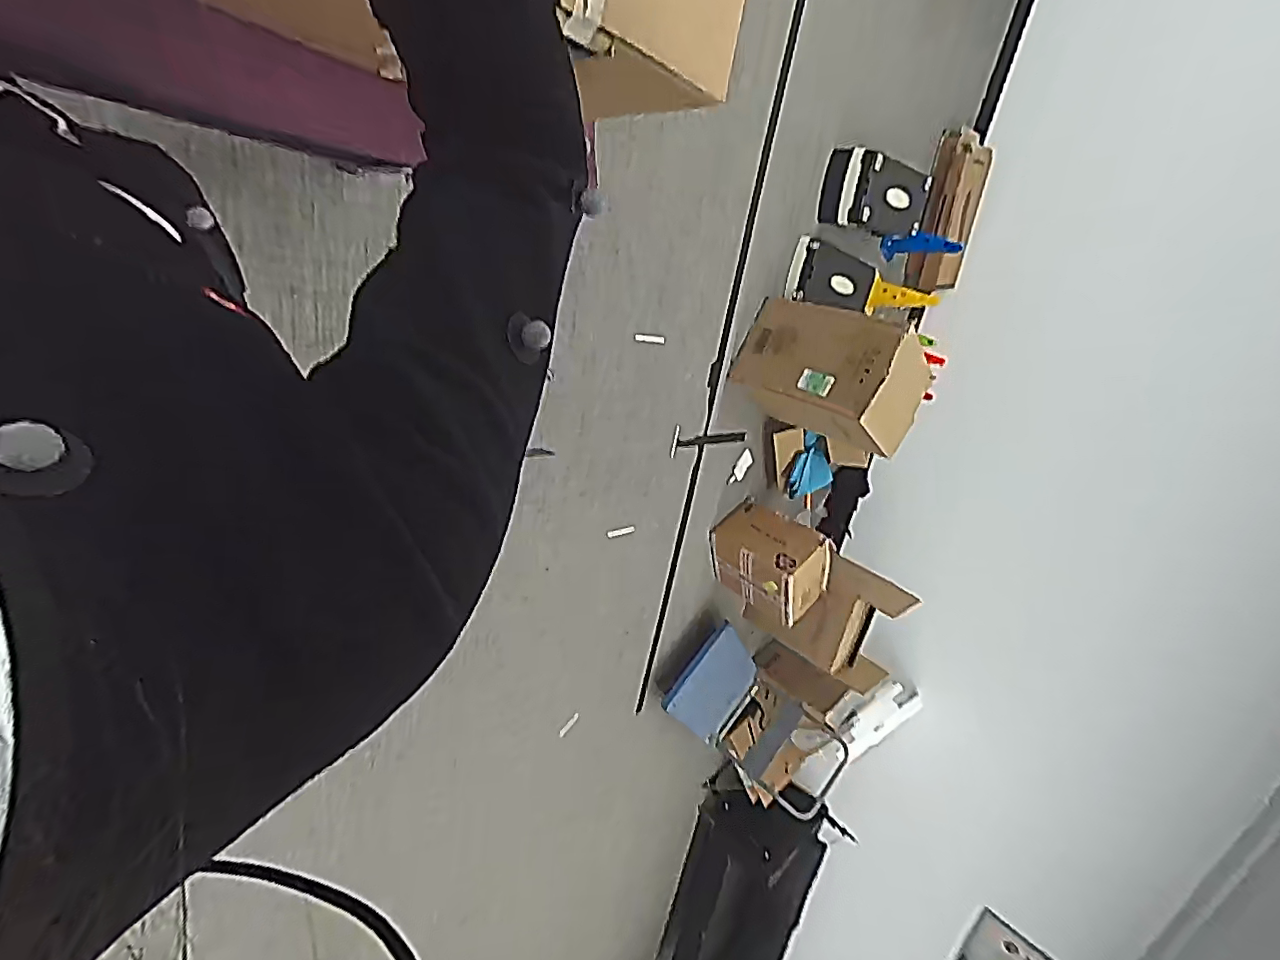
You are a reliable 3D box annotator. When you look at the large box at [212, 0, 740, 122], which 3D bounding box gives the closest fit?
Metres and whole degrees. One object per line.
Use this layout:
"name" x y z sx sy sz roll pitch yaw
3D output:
"large box" -0.111 -0.531 0.376 0.320 0.320 0.408 -11 118 -45
